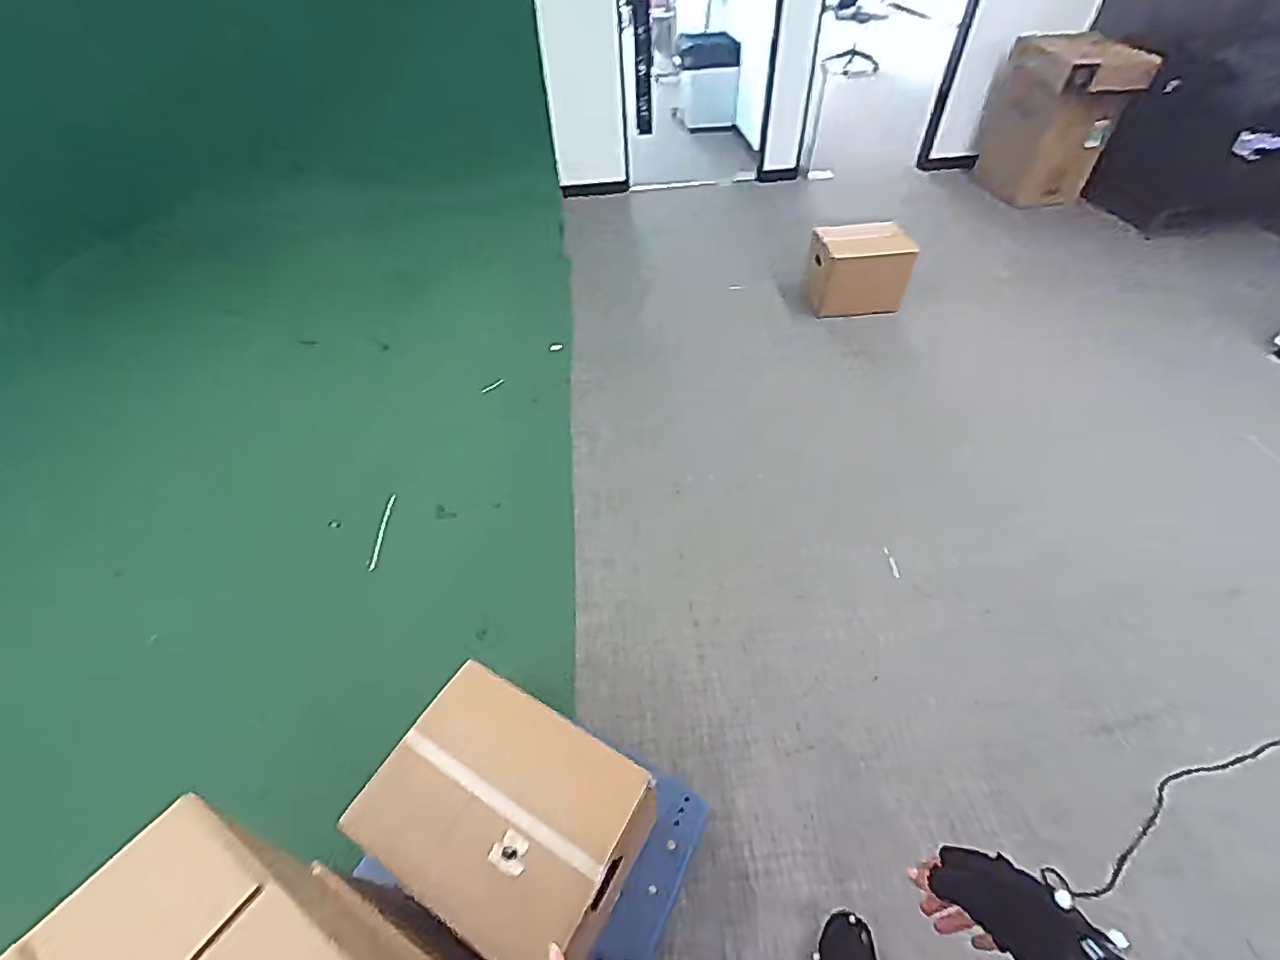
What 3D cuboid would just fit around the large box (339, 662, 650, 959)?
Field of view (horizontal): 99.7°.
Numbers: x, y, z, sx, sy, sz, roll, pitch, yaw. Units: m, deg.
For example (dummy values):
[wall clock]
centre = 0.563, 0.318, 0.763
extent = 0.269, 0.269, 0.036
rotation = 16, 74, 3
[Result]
[large box]
centre = -0.228, 0.607, 0.974
extent = 0.408, 0.320, 0.320
rotation = 23, 53, 21
